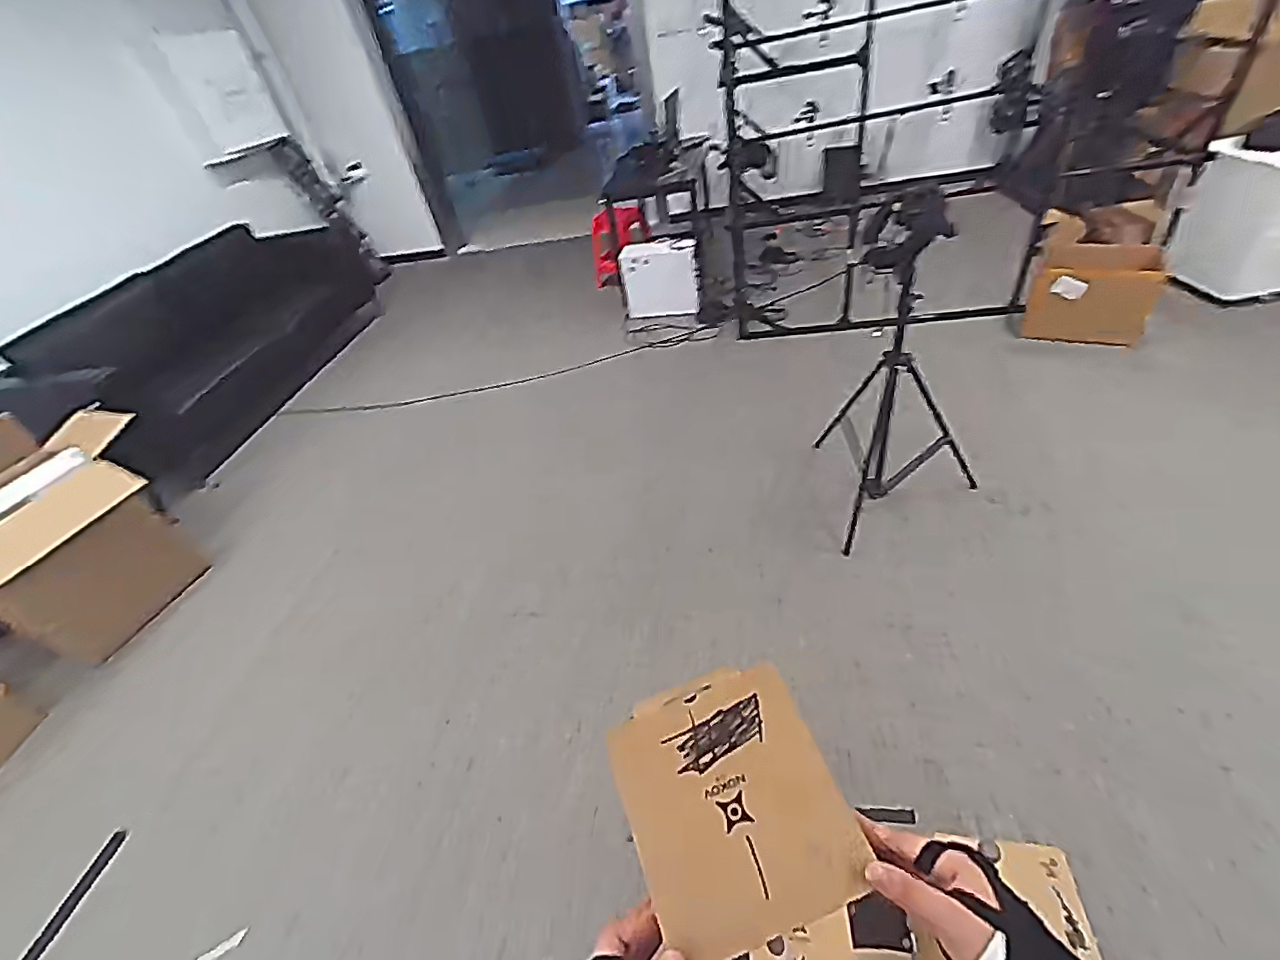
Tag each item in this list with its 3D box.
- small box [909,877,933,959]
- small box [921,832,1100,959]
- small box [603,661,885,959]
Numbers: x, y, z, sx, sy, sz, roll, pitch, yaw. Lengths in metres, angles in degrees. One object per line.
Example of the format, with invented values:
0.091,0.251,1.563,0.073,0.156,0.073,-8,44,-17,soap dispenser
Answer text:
0.549,0.781,0.885,0.179,0.176,0.168,-2,41,13,small box
0.526,0.648,0.793,0.179,0.176,0.168,-1,41,14,small box
0.080,0.297,0.486,0.168,0.176,0.179,-21,53,-6,small box
